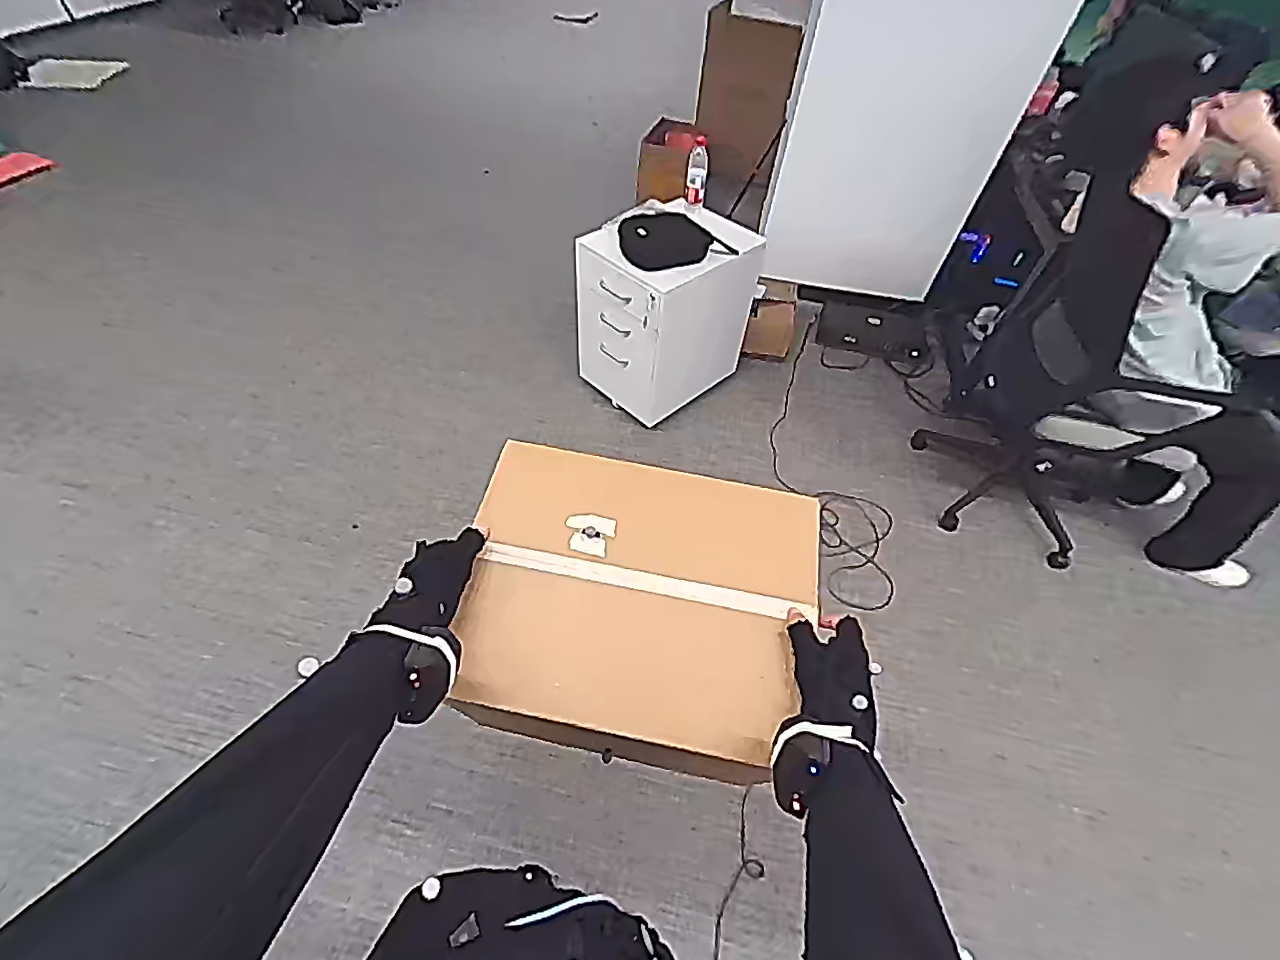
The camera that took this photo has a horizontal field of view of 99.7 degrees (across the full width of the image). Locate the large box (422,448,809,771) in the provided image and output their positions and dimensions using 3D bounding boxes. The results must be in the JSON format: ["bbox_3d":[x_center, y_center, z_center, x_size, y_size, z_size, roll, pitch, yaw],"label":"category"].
[{"bbox_3d":[-0.010,0.194,0.750,0.408,0.320,0.320,11,59,4],"label":"large box"}]
